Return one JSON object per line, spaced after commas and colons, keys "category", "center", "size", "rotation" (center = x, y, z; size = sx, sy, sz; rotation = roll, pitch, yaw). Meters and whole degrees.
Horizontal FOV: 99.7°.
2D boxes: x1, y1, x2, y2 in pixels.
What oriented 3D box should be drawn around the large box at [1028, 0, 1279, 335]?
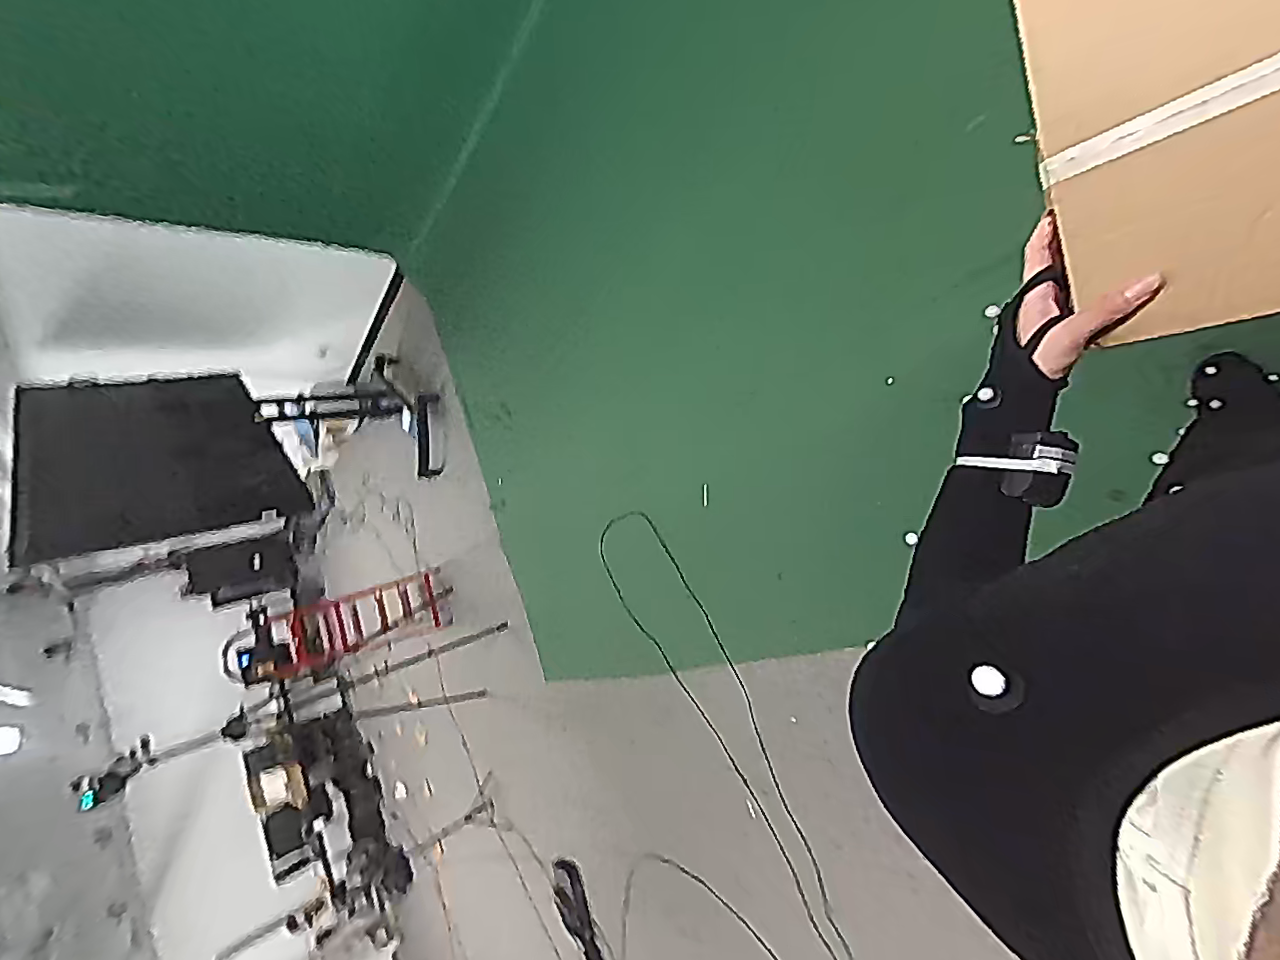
{"category": "large box", "center": [0.581, -0.331, 0.385], "size": [0.408, 0.320, 0.320], "rotation": [-6, 105, 53]}
